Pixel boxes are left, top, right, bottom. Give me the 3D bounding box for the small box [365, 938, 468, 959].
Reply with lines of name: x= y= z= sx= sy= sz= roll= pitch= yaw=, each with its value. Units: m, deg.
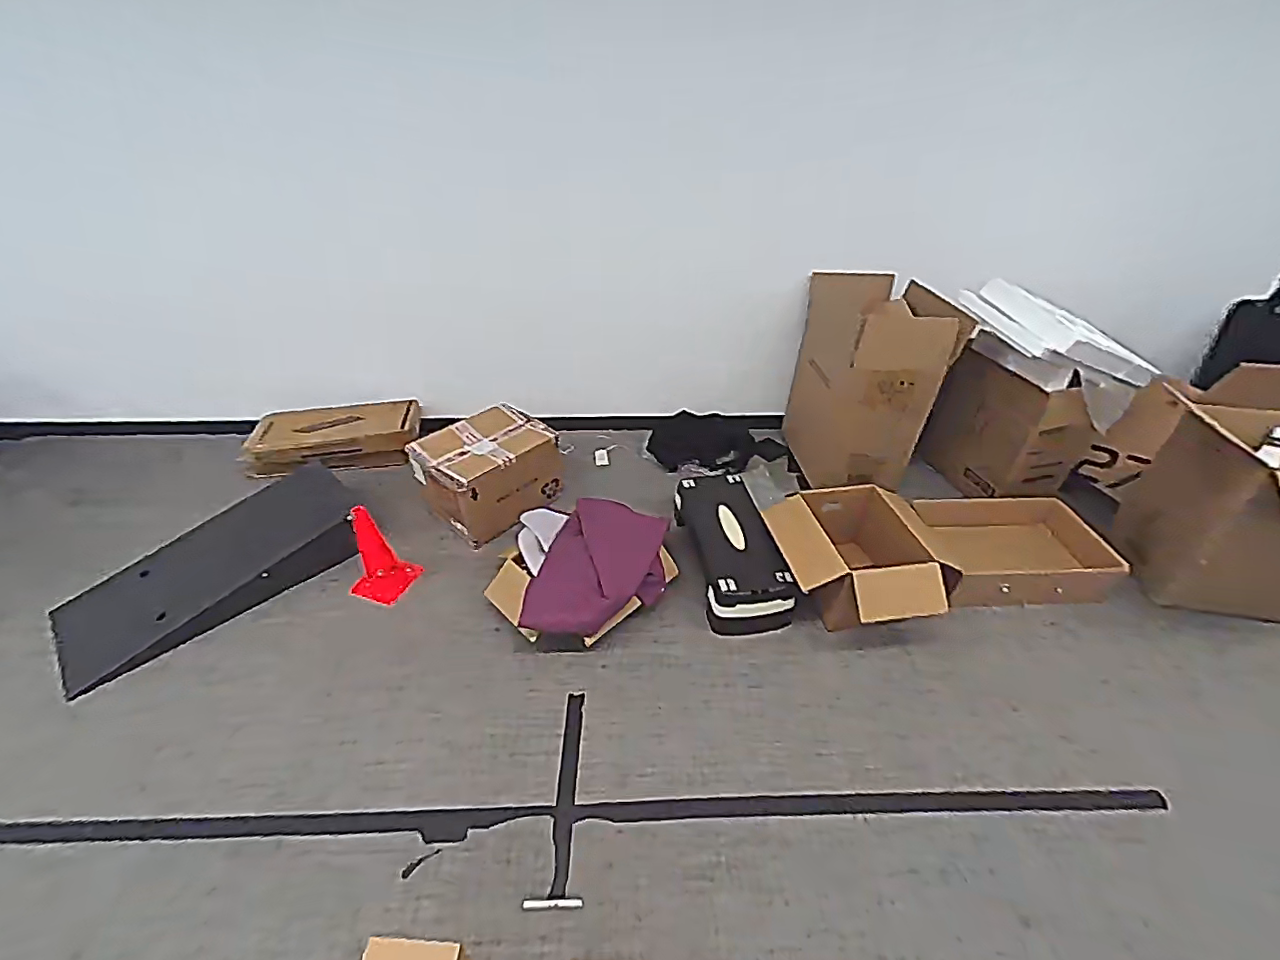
small box: x=-0.395 y=0.924 z=0.924 sx=0.168 sy=0.176 sz=0.179 roll=2 pitch=37 yaw=3
